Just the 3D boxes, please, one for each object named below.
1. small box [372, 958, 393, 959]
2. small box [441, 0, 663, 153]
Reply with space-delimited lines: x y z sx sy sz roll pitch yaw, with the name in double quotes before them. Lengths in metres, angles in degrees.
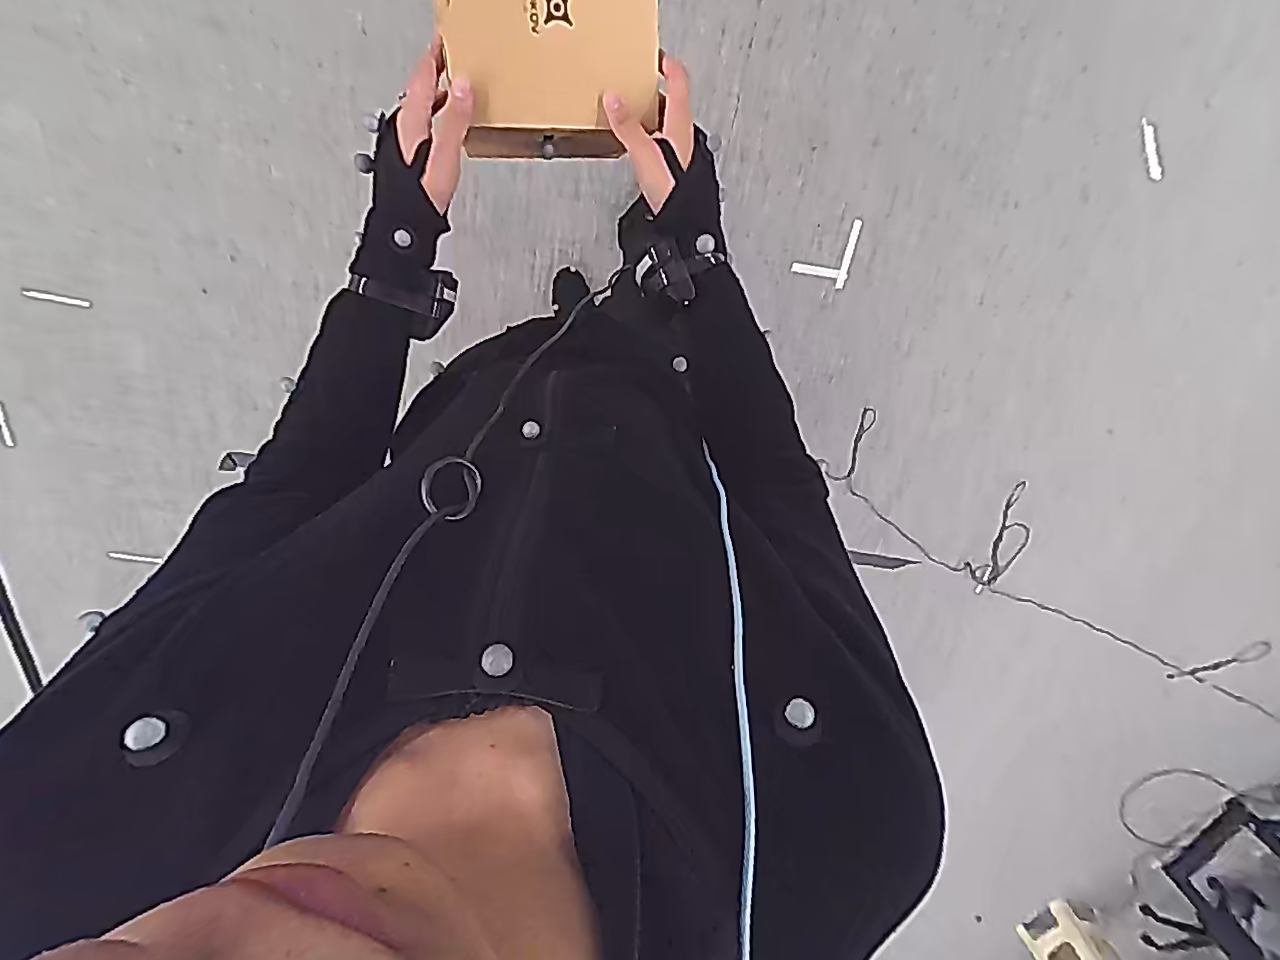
"small box" -0.553 1.208 1.200 0.168 0.176 0.179 10 115 -9
"small box" -0.084 -0.408 0.496 0.179 0.176 0.168 -6 115 -10
